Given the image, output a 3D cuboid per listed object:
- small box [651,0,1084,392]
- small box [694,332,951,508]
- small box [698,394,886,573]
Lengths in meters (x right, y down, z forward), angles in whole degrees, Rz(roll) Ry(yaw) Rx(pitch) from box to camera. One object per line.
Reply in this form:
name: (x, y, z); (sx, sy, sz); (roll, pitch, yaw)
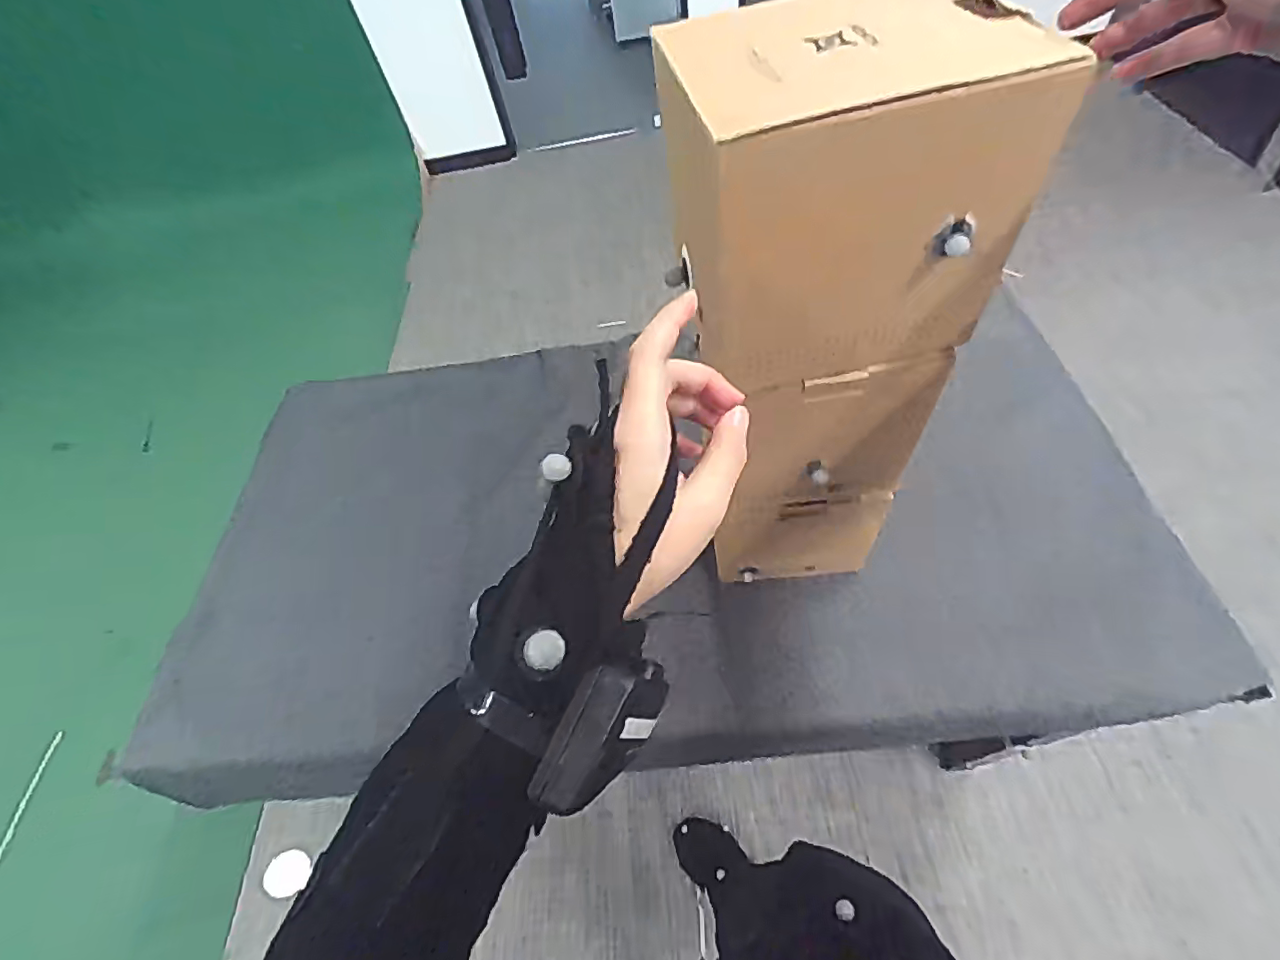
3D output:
small box: (0.114, -0.184, 0.352); (0.179, 0.176, 0.168); (-13, 54, 2)
small box: (0.138, -0.097, 0.487); (0.168, 0.176, 0.179); (-8, 56, 5)
small box: (0.160, -0.003, 0.621); (0.168, 0.176, 0.179); (-6, 55, 6)
